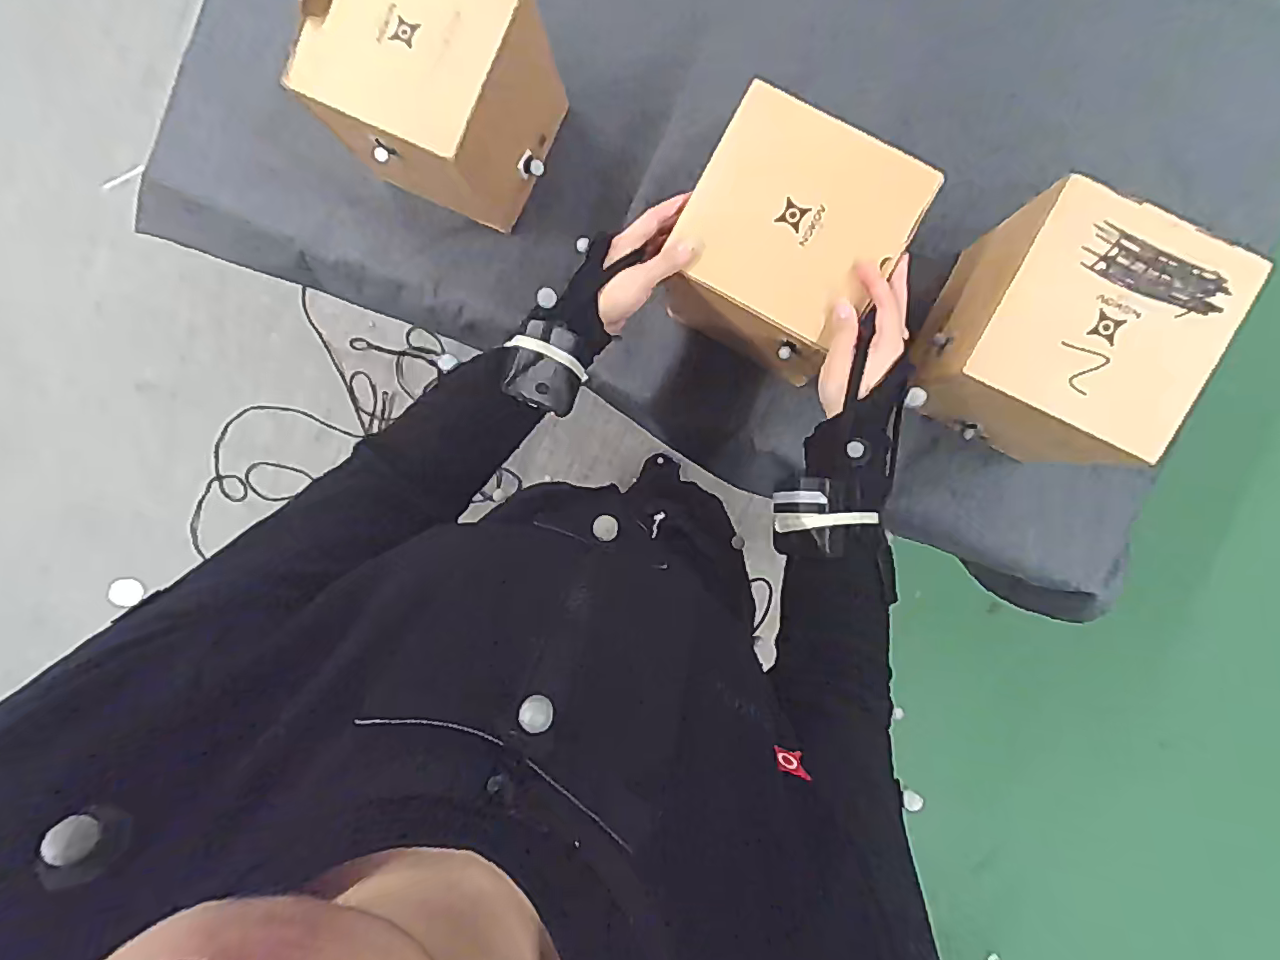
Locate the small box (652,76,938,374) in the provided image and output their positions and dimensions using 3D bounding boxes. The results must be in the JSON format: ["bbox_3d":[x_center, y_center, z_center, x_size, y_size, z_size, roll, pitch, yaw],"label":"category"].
[{"bbox_3d":[0.128,-0.217,0.516,0.179,0.176,0.168,30,94,2],"label":"small box"}]

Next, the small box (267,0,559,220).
[{"bbox_3d":[-0.203,-0.390,0.532,0.179,0.176,0.168,25,95,2],"label":"small box"}]
